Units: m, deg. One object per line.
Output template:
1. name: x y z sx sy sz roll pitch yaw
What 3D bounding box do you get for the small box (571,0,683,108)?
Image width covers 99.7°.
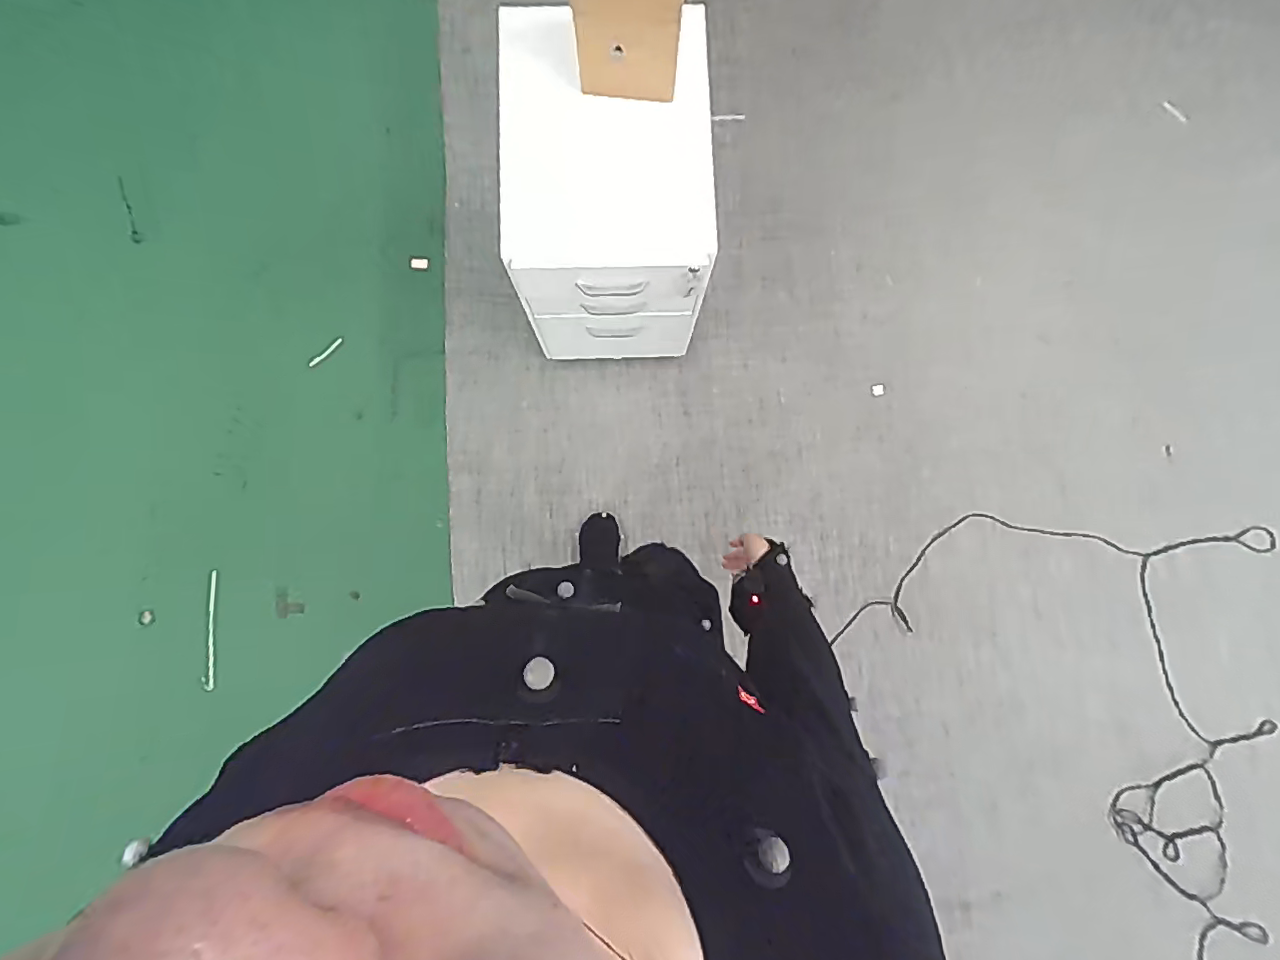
1. small box: -0.018 -0.795 0.950 0.179 0.176 0.168 5 84 0

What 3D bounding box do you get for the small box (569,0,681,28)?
1. small box: -0.018 -0.810 0.788 0.179 0.176 0.168 5 83 -1
